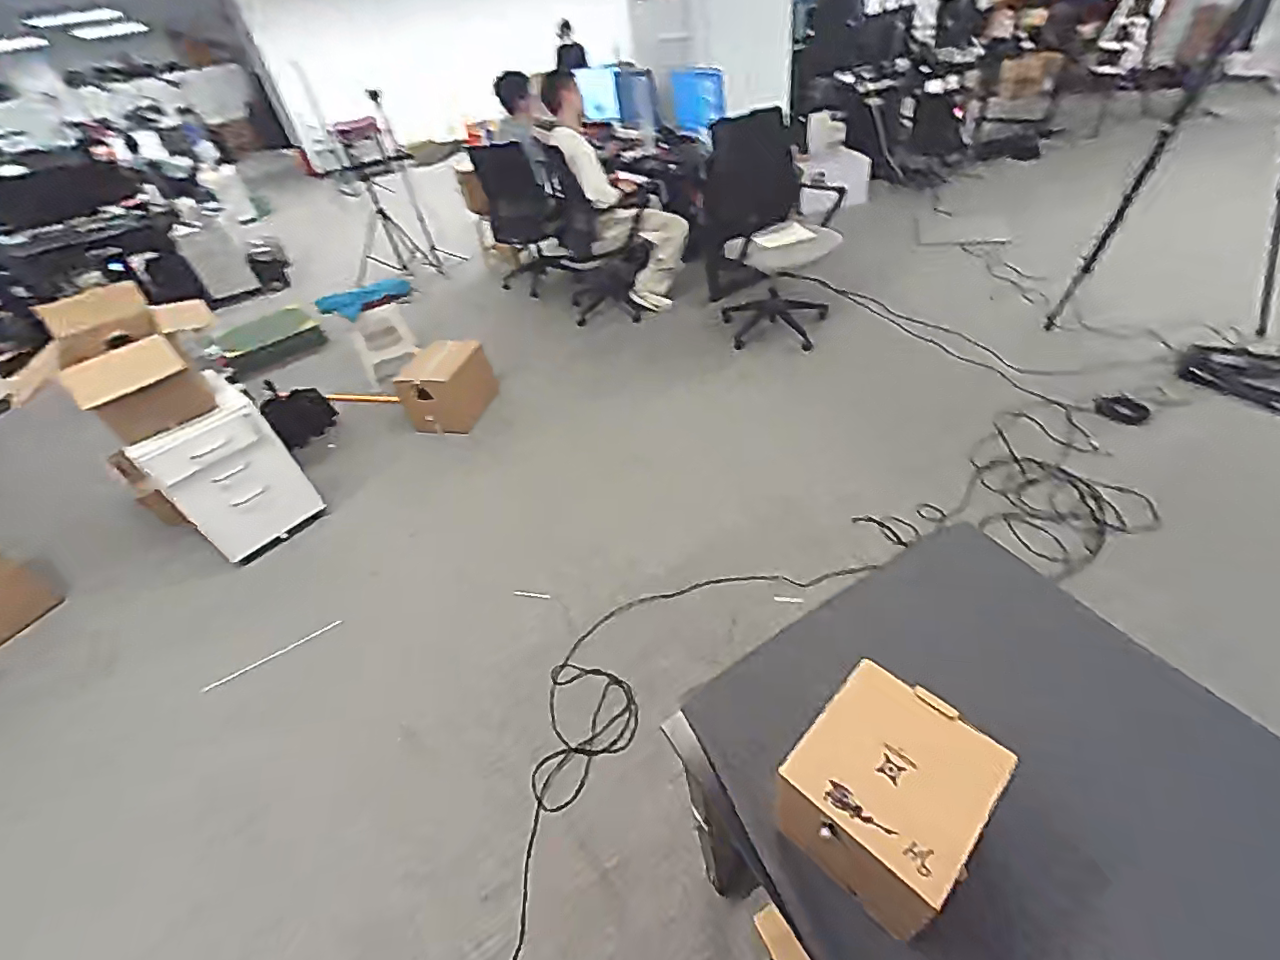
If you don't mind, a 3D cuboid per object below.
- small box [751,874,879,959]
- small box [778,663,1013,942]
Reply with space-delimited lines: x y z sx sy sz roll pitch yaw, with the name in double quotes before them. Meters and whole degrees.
"small box" 0.335 0.921 1.052 0.179 0.176 0.168 -23 41 -15
"small box" 0.265 0.350 0.598 0.179 0.176 0.168 -36 46 -27
